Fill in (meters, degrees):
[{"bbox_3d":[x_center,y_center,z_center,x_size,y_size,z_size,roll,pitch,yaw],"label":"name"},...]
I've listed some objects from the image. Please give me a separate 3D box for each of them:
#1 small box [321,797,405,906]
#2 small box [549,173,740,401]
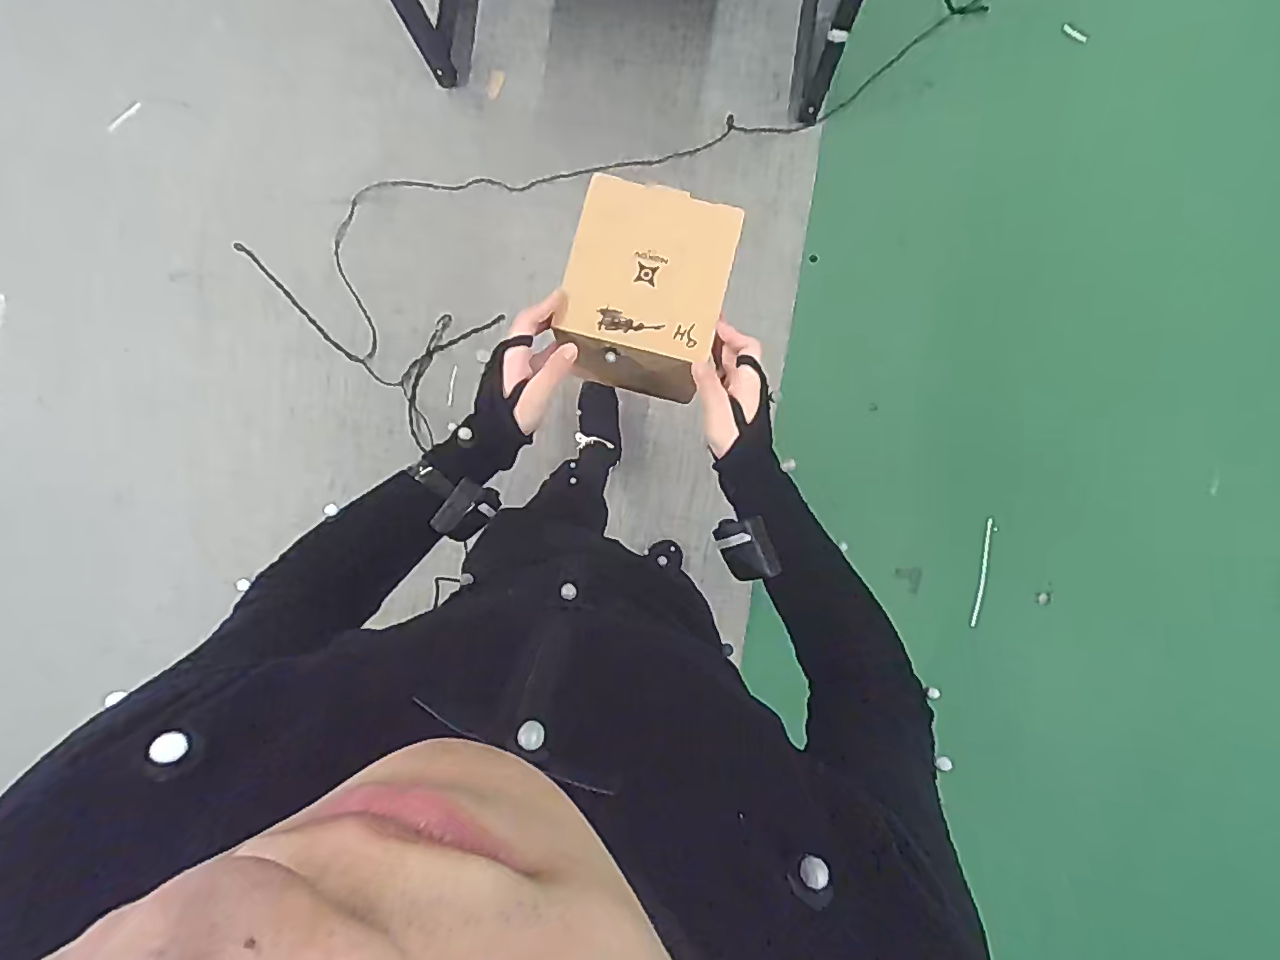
[{"bbox_3d":[-0.784,1.032,1.518,0.168,0.176,0.179,12,89,3],"label":"small box"},{"bbox_3d":[0.004,-0.212,0.636,0.168,0.176,0.179,15,85,1],"label":"small box"}]
